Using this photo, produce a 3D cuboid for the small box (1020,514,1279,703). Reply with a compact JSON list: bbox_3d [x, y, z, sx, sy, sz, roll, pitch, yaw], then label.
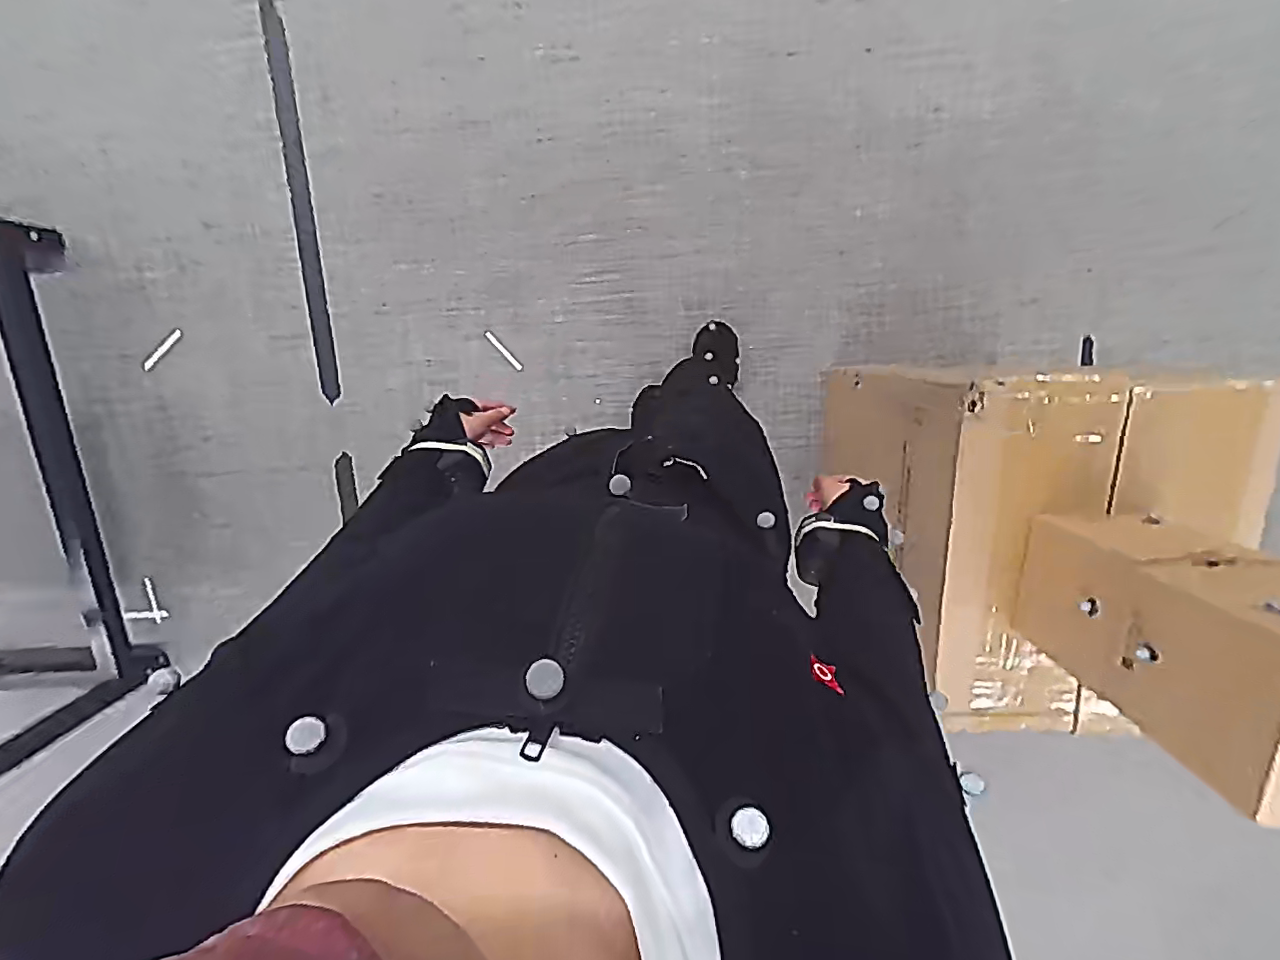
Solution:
[{"bbox_3d":[0.608,0.145,0.663,0.168,0.176,0.179,1,104,3],"label":"small box"}]
